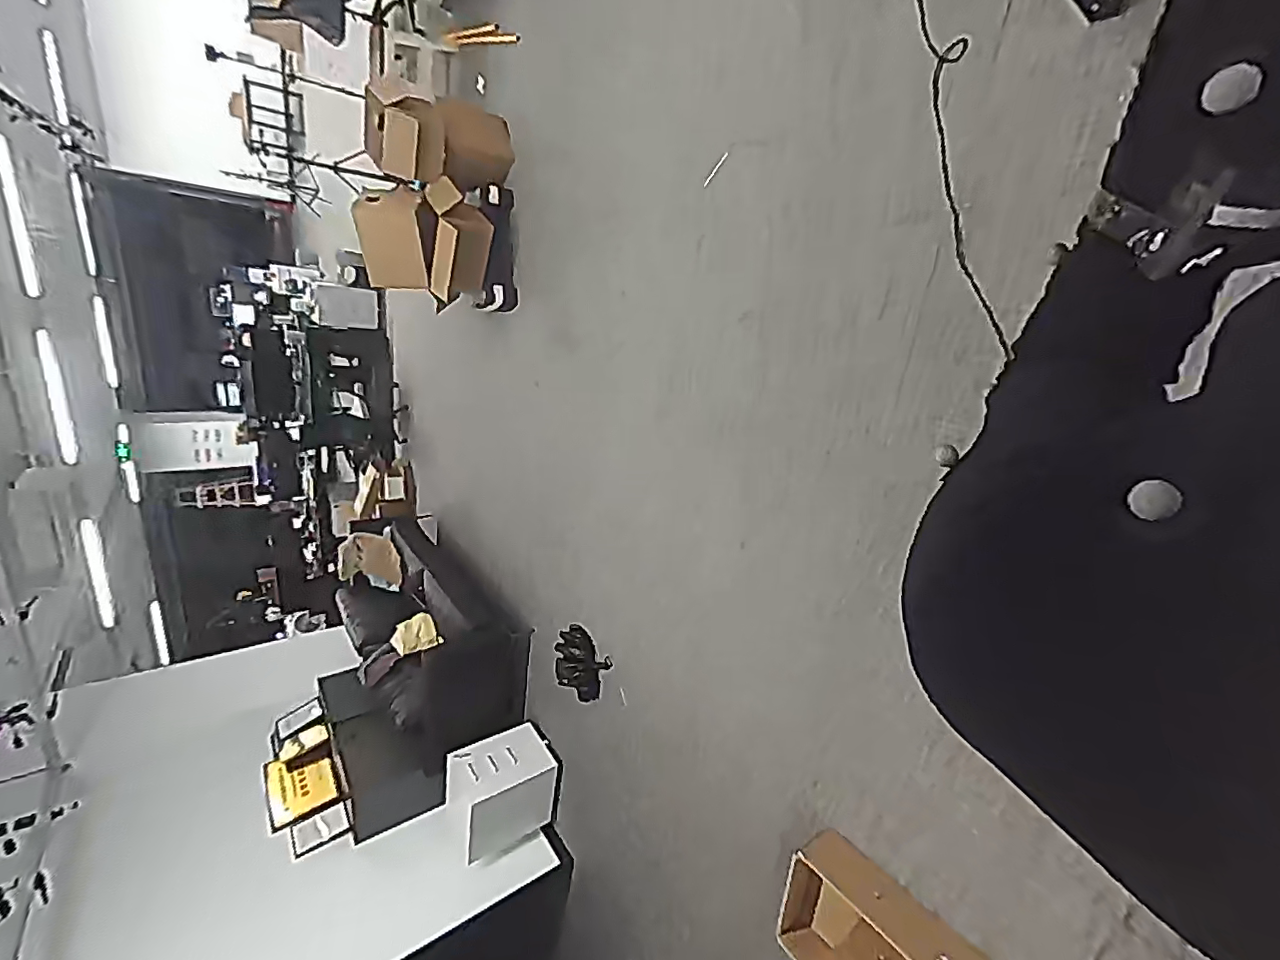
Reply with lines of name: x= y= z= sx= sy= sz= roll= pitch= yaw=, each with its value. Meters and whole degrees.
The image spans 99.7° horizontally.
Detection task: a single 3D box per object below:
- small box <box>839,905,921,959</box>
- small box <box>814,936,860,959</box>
small box: x=0.705 y=1.437 z=1.630 sx=0.179 sy=0.176 sz=0.168 roll=31 pitch=121 yaw=43
small box: x=0.559 y=1.458 z=1.531 sx=0.168 sy=0.176 sz=0.179 roll=36 pitch=125 yaw=45
